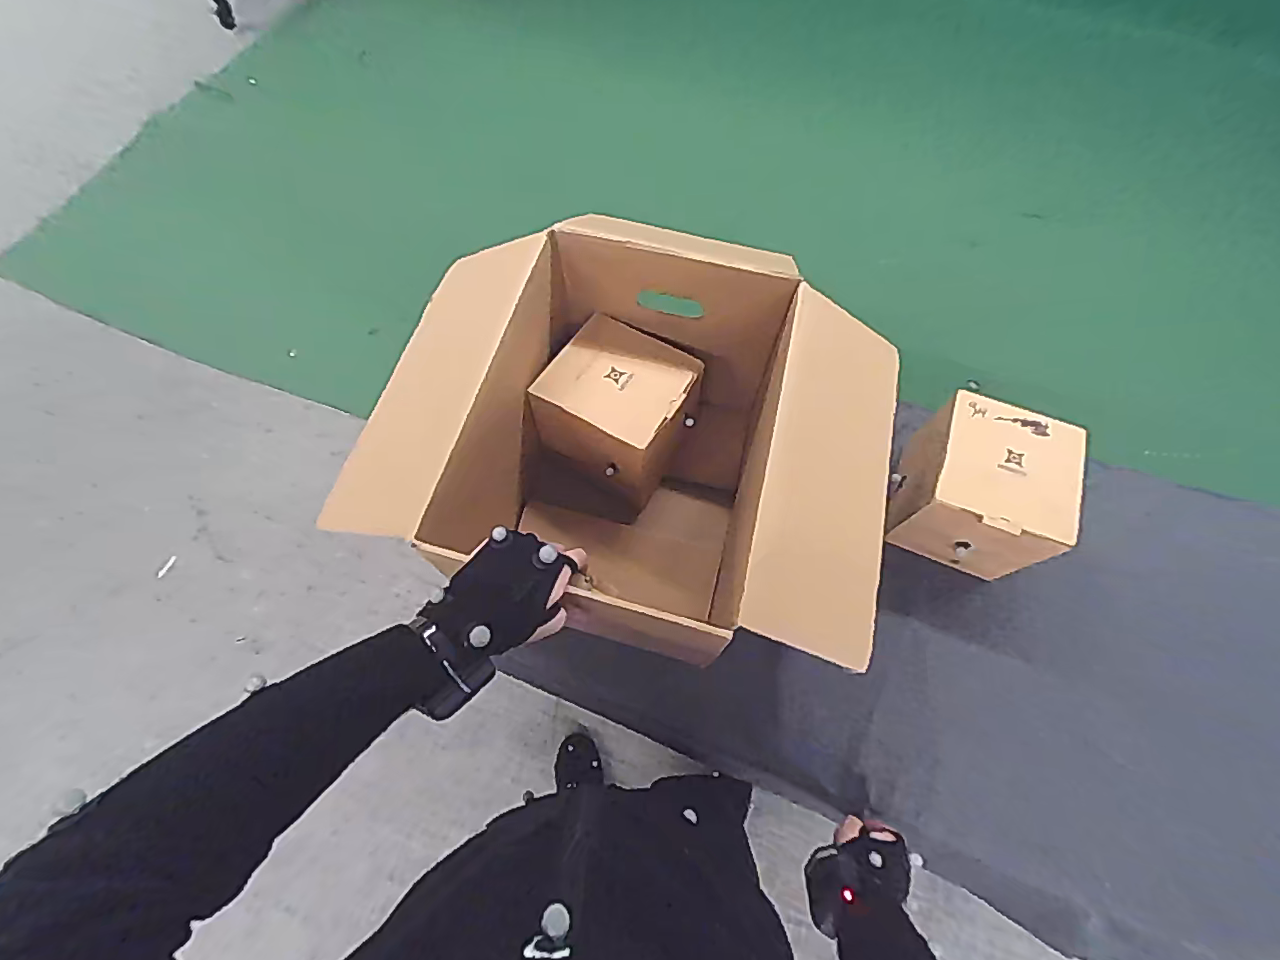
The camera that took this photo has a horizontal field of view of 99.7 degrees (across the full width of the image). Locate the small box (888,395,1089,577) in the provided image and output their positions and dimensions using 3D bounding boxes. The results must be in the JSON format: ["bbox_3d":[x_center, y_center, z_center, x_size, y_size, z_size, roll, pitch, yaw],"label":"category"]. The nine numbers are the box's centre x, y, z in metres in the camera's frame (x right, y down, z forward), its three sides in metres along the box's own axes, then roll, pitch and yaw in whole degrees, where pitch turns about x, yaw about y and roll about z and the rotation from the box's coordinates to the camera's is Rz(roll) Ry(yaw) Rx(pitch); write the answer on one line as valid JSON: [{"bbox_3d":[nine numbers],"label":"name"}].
[{"bbox_3d":[0.474,0.018,0.761,0.168,0.176,0.179,23,70,9],"label":"small box"}]
